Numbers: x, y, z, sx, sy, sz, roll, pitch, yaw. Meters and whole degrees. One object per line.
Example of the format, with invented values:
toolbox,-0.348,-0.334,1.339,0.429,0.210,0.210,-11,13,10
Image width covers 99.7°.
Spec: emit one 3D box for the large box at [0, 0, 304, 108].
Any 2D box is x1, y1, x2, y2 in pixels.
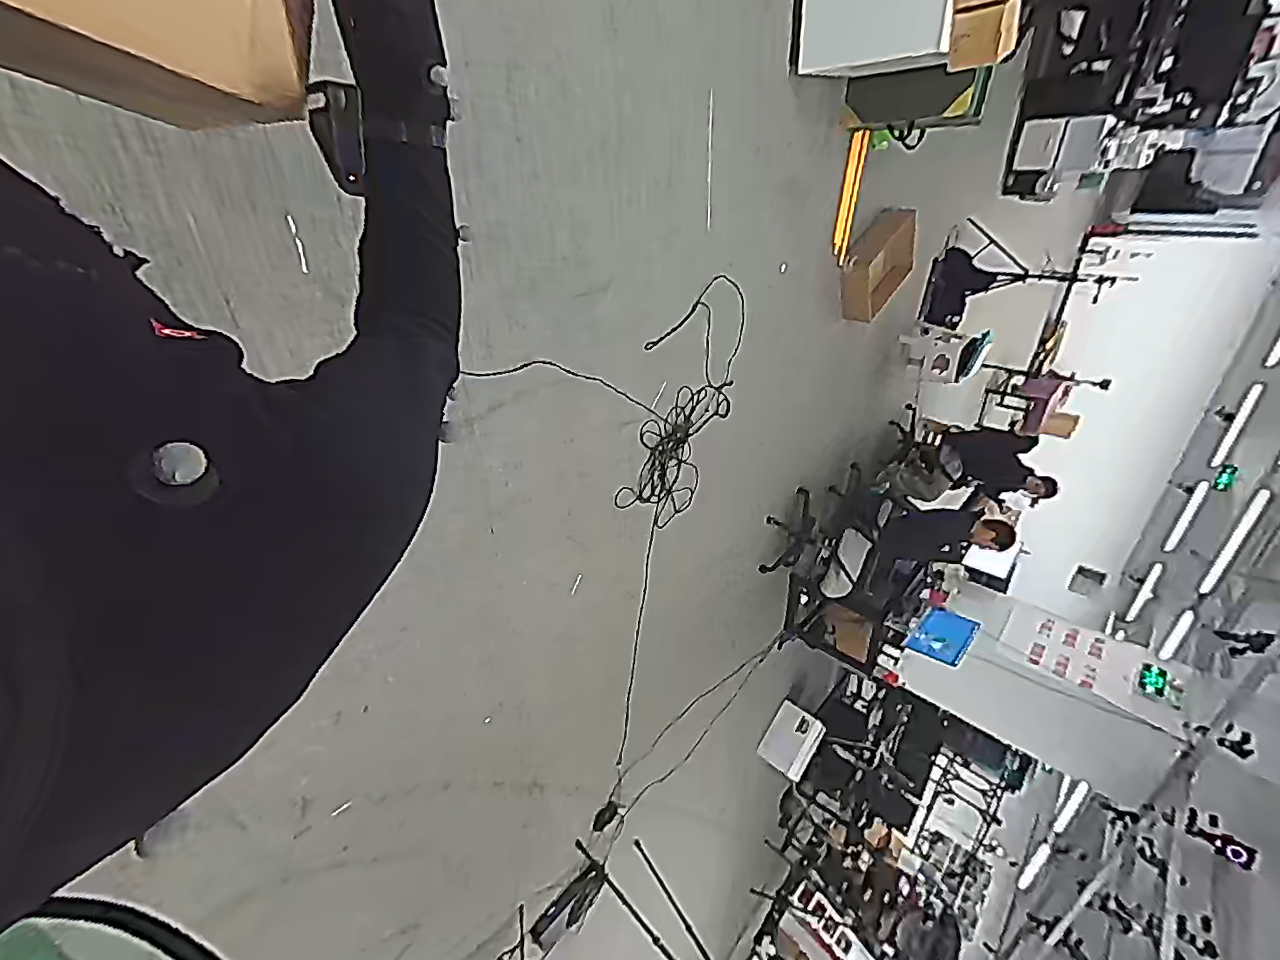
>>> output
large box,-0.455,-0.460,0.288,0.408,0.320,0.320,-7,117,-52
